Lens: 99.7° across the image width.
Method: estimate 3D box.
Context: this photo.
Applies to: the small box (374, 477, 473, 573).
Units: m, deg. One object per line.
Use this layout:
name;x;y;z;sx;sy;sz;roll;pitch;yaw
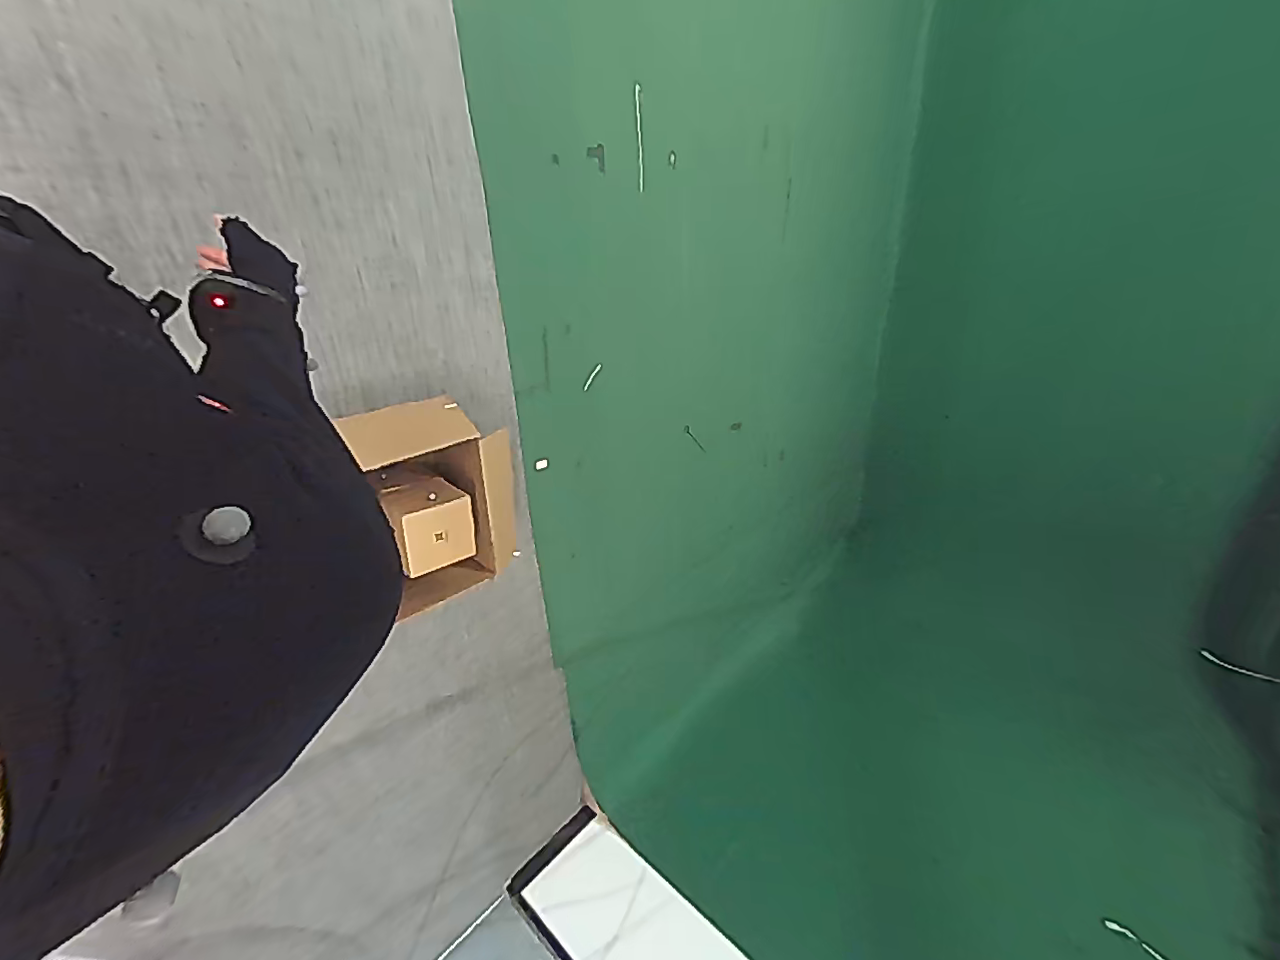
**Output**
small box;-0.549;0.106;1.362;0.179;0.176;0.168;-21;120;-43
